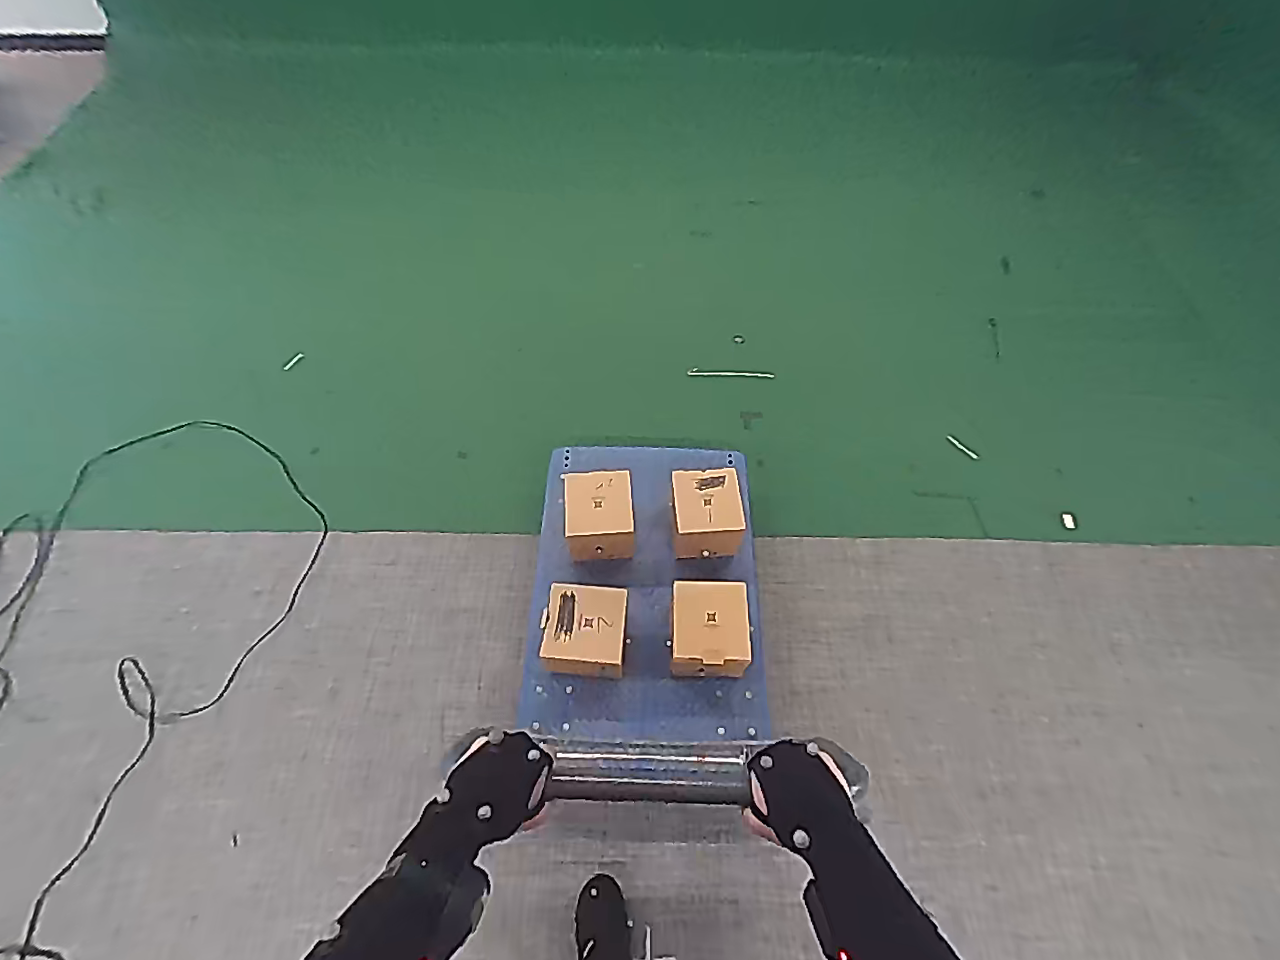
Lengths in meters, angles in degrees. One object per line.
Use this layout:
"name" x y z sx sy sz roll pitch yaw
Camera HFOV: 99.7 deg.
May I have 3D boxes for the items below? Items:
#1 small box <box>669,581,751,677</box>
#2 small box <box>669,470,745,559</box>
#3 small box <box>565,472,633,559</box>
"small box" 0.156 0.347 1.255 0.168 0.176 0.179 2 60 0
"small box" 0.167 0.092 1.404 0.168 0.176 0.179 -3 61 -2
"small box" -0.103 0.098 1.396 0.168 0.176 0.179 -3 60 -3
